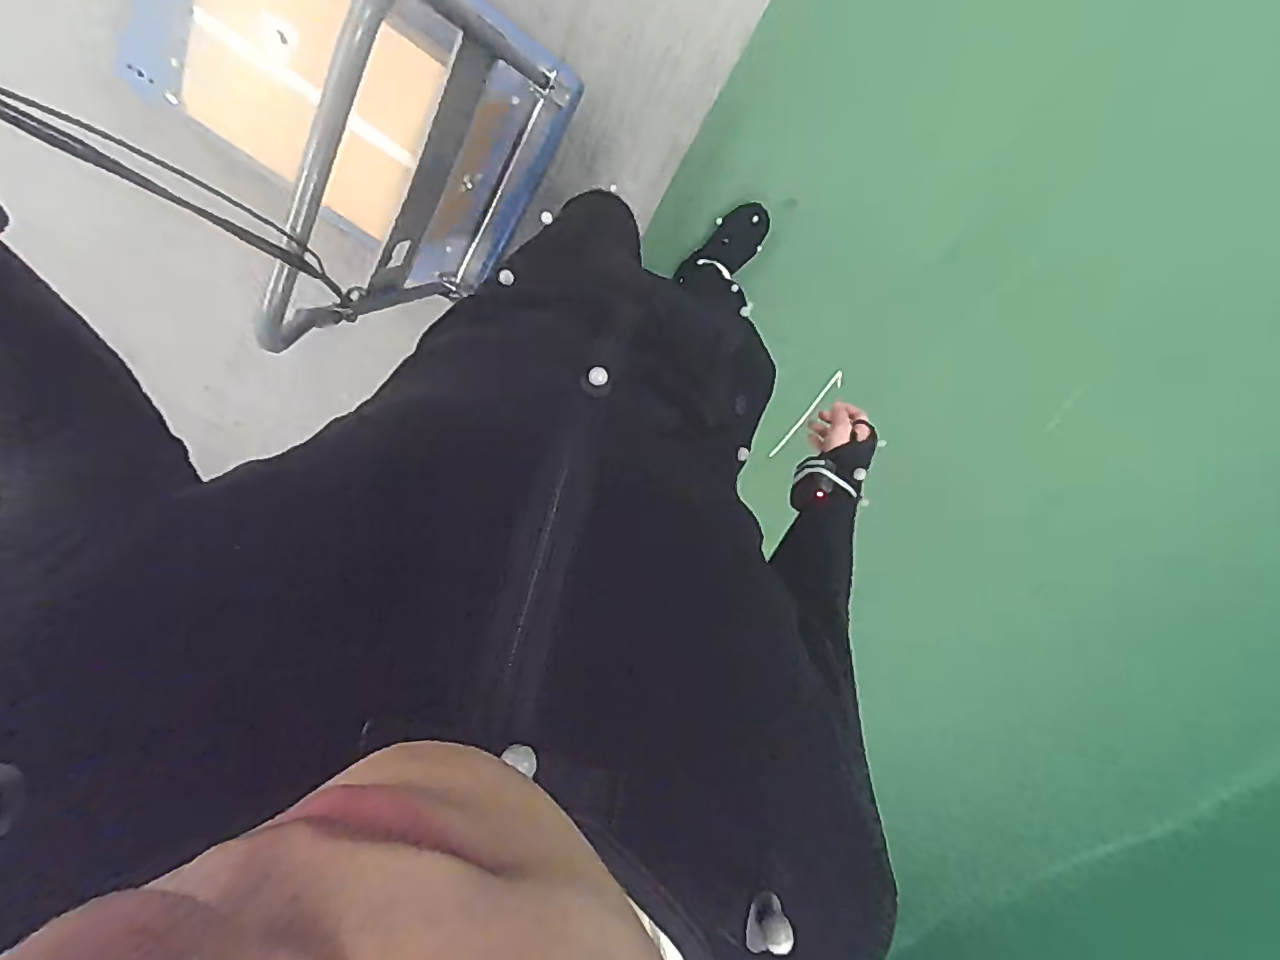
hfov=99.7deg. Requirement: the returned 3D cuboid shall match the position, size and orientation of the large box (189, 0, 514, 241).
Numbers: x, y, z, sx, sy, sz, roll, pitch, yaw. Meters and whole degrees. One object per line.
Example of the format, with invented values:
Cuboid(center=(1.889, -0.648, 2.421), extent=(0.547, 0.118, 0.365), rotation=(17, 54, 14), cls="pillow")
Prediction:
Cuboid(center=(-0.518, -0.719, 1.029), extent=(0.408, 0.320, 0.320), rotation=(32, 117, -10), cls="large box")
